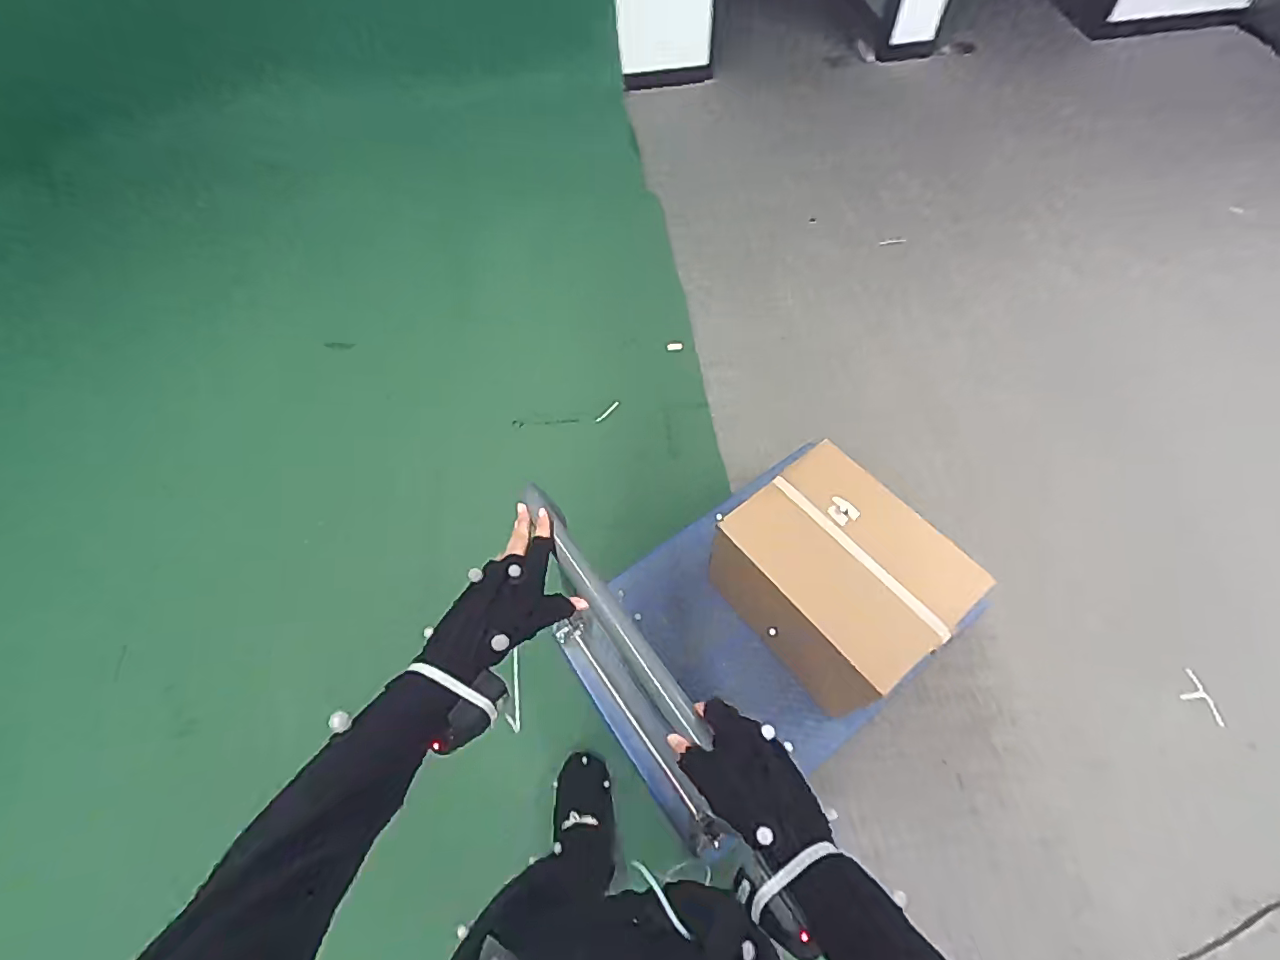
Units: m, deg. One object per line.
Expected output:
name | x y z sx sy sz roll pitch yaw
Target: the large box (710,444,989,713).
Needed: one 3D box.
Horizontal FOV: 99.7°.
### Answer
large box | 0.399 0.210 1.139 0.320 0.320 0.408 -35 63 -18
